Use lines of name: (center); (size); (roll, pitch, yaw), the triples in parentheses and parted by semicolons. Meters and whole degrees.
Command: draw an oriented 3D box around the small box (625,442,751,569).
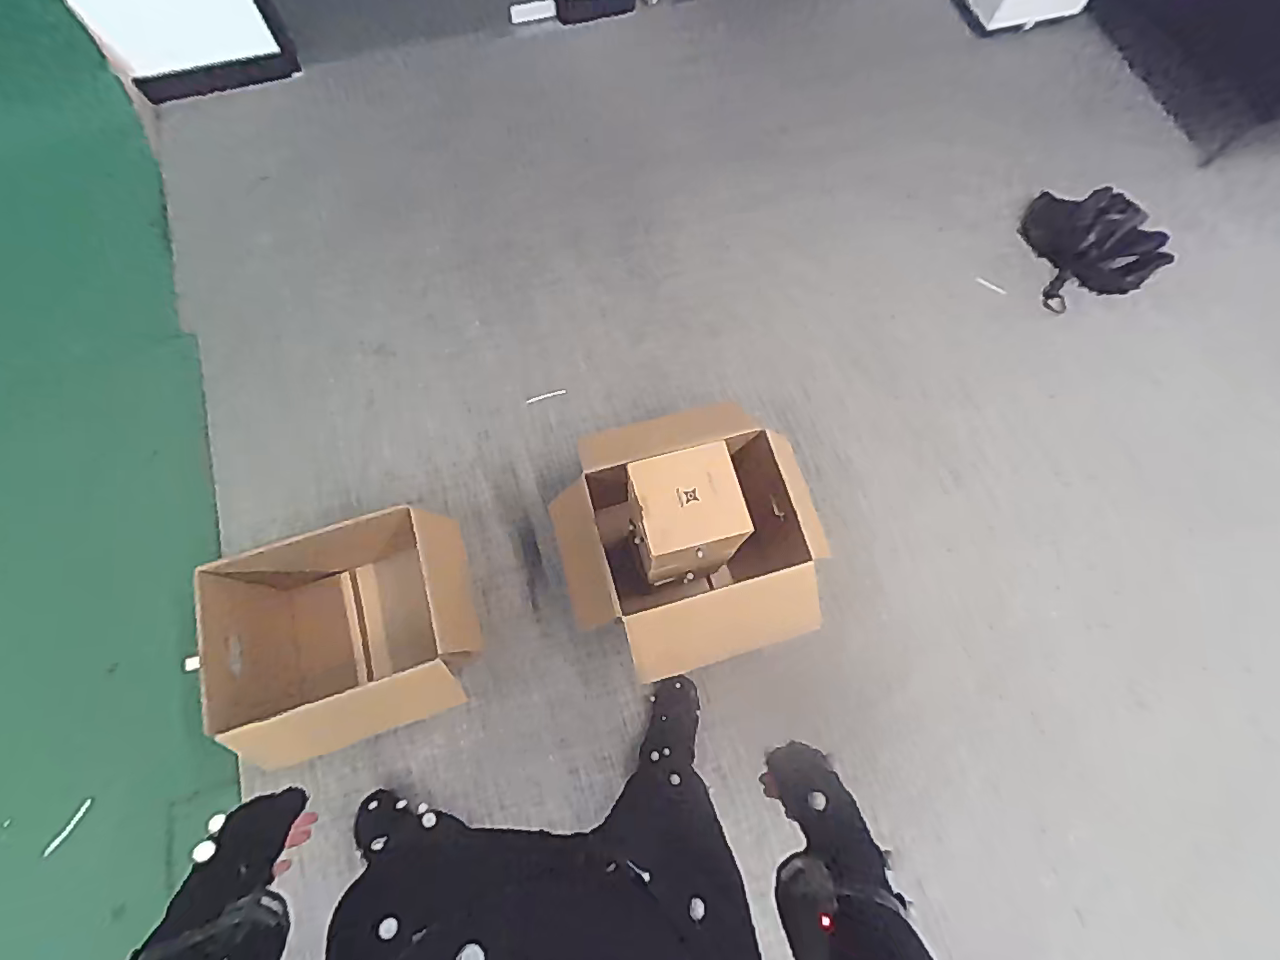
small box: (0.078, 0.054, 0.976); (0.179, 0.176, 0.168); (-15, 74, -6)
